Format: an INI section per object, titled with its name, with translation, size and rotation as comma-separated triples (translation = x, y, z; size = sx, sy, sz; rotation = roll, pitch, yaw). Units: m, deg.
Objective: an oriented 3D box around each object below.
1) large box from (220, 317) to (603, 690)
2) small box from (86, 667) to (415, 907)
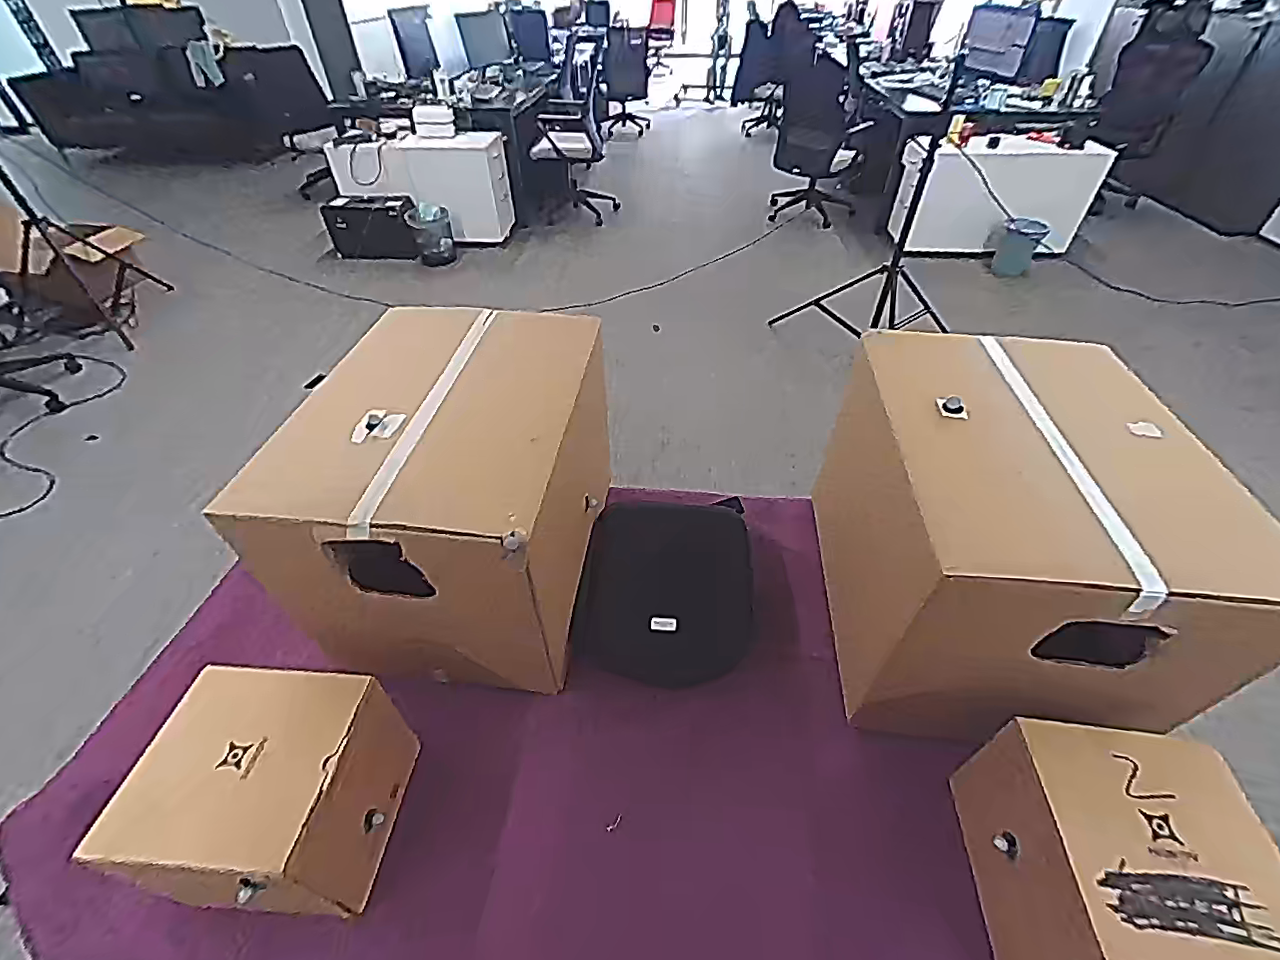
[large box]
translation = -0.231, 0.021, 0.743
size = 0.320, 0.320, 0.408
rotation = 3, 46, 5
[small box]
translation = -0.358, 0.309, 0.544
size = 0.179, 0.176, 0.168
rotation = 2, 43, 2
